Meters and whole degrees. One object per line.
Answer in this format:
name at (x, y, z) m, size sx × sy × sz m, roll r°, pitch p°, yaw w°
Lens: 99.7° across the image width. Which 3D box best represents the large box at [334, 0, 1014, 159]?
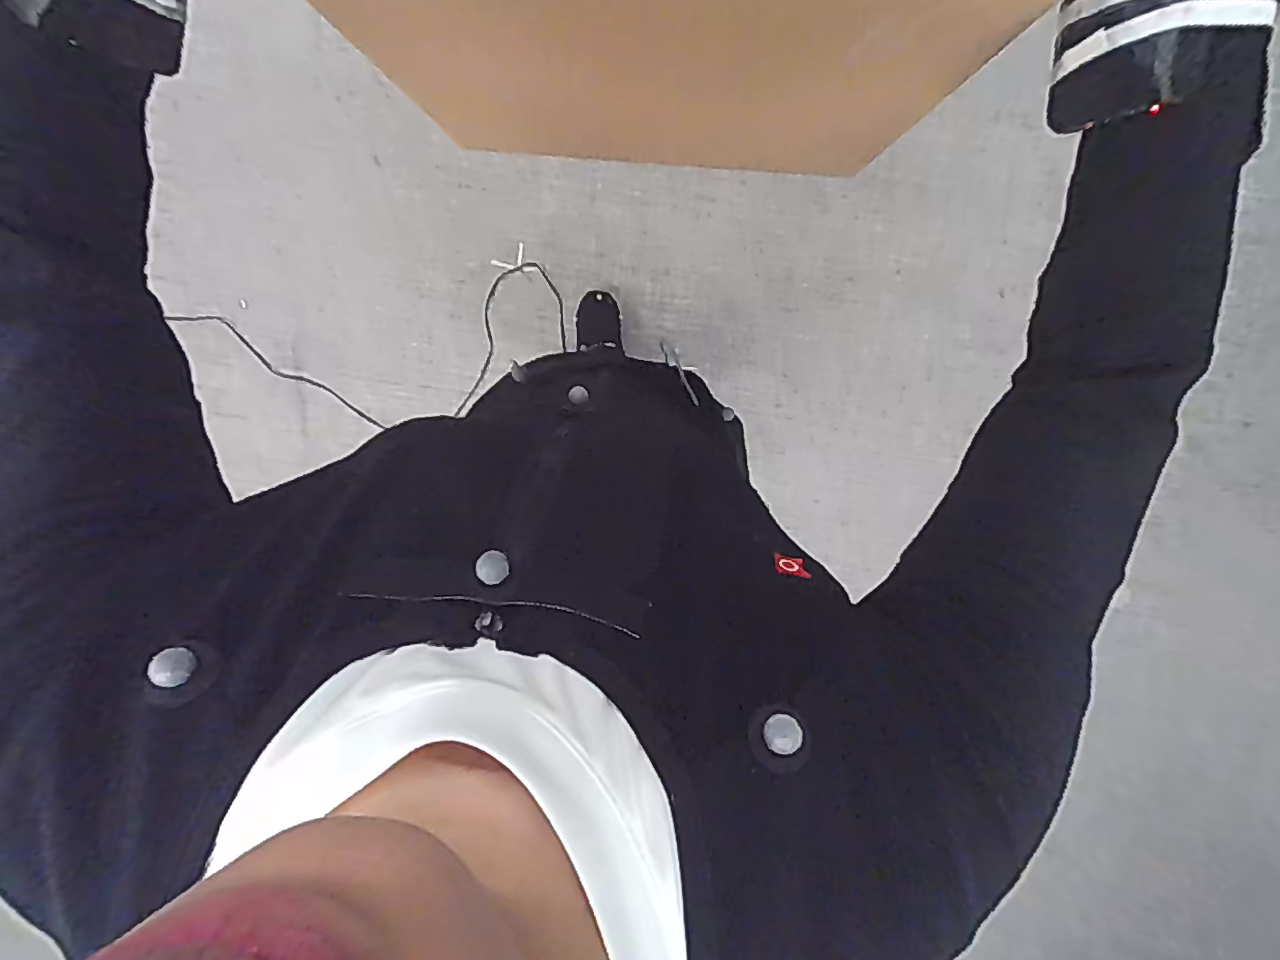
large box at (0.021, -0.441, 0.367) m, size 0.408 × 0.320 × 0.320 m, roll 4°, pitch 105°, yaw 1°
